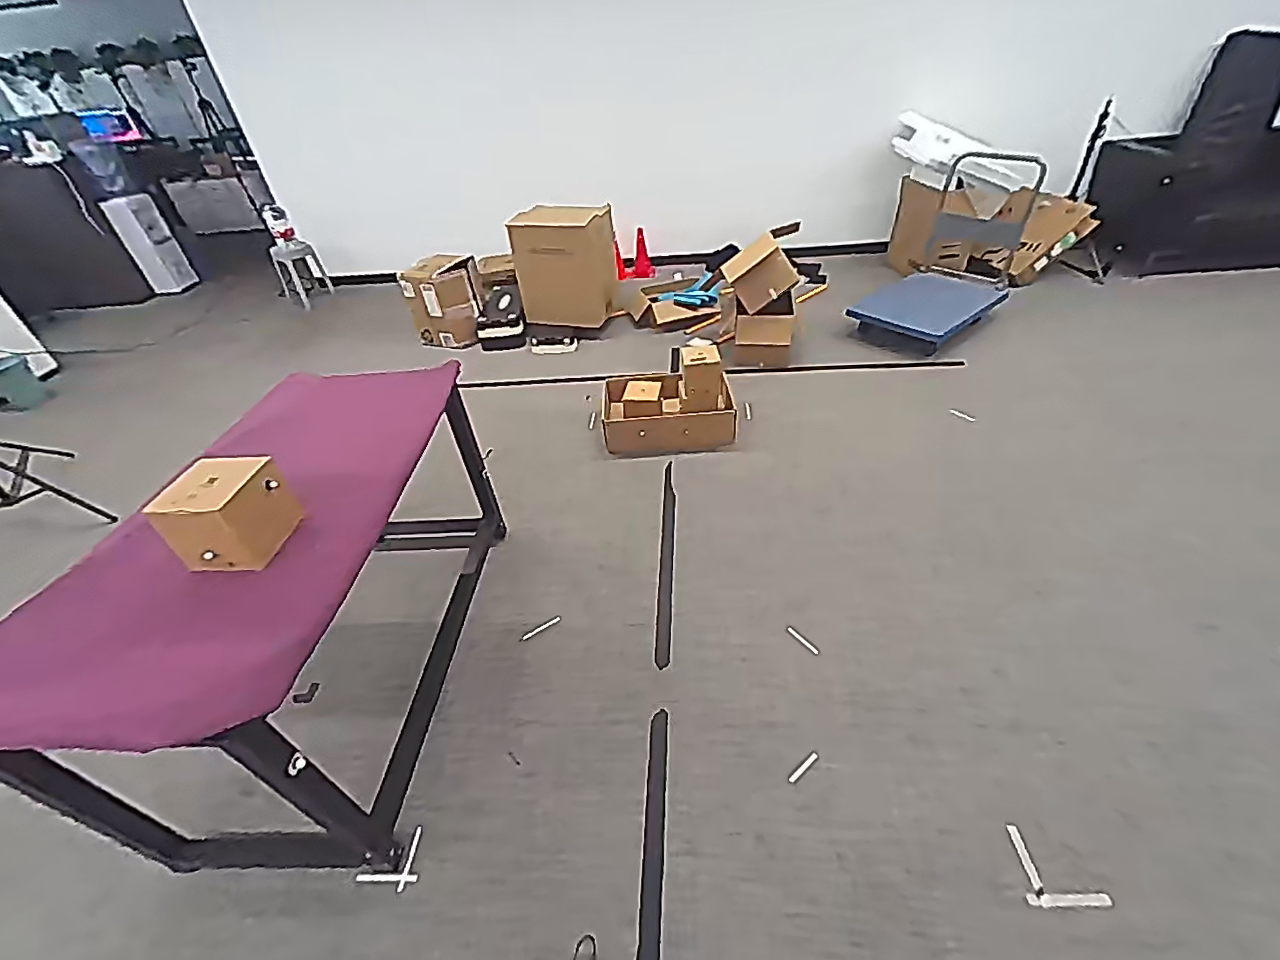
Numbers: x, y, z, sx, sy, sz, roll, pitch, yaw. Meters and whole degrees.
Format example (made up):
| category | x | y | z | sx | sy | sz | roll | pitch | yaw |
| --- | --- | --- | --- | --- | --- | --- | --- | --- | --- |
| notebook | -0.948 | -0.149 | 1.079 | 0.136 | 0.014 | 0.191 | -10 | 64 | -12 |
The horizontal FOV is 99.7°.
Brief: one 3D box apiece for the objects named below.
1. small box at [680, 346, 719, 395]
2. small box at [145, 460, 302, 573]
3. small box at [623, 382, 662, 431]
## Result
| category | x | y | z | sx | sy | sz | roll | pitch | yaw |
| --- | --- | --- | --- | --- | --- | --- | --- | --- | --- |
| small box | 0.279 | -0.505 | 2.515 | 0.168 | 0.176 | 0.179 | -5 | 38 | 2 |
| small box | -0.858 | 0.076 | 1.141 | 0.168 | 0.176 | 0.179 | -2 | 39 | 6 |
| small box | 0.014 | -0.359 | 2.635 | 0.168 | 0.176 | 0.179 | 3 | 40 | 9 |
